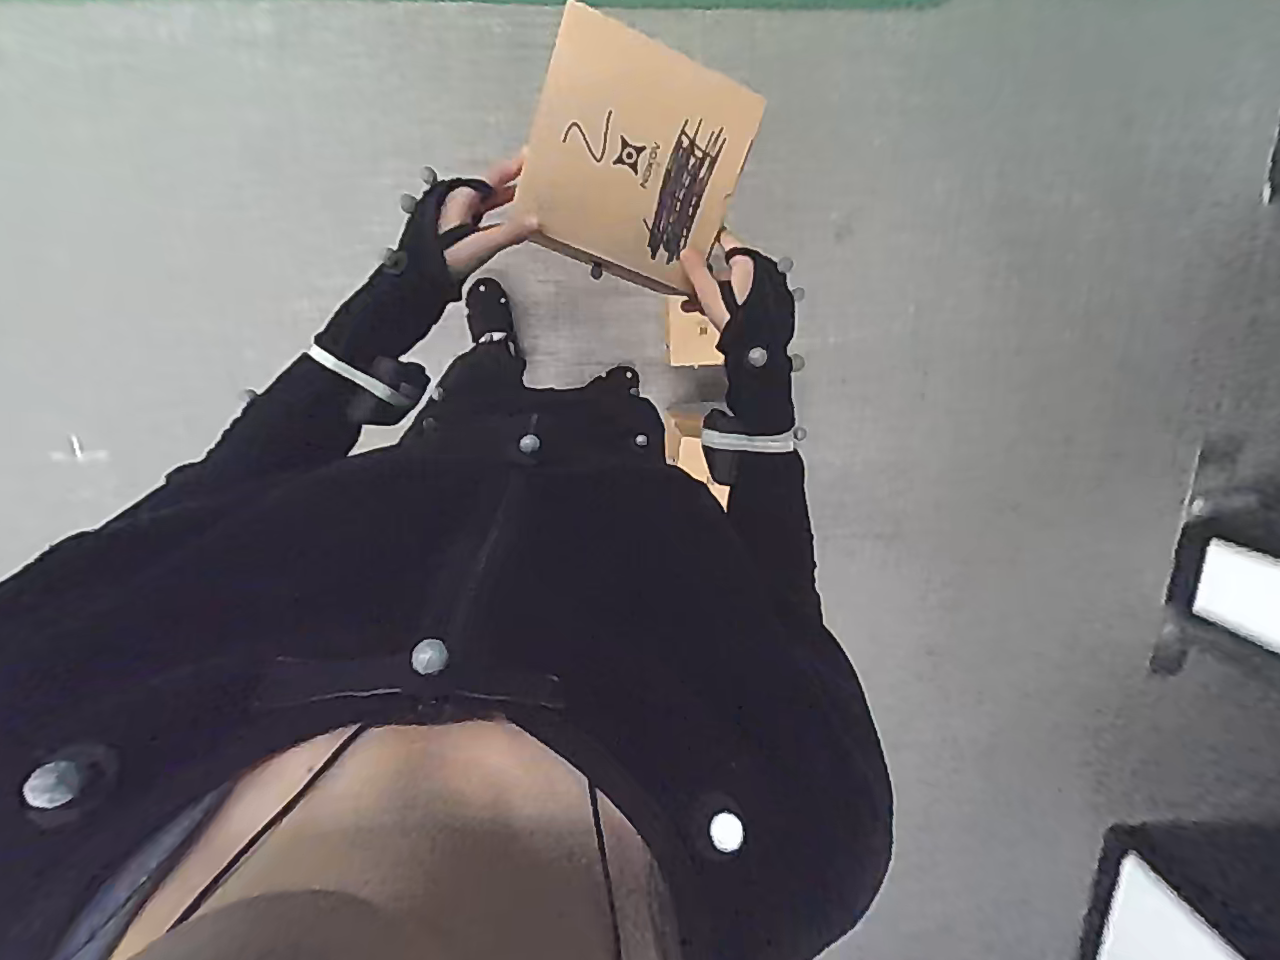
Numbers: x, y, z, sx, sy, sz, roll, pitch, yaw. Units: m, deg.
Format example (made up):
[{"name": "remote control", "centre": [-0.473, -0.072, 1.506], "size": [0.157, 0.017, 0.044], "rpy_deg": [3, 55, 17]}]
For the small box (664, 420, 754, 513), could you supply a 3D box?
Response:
[{"name": "small box", "centre": [0.153, -0.038, 1.274], "size": [0.168, 0.176, 0.179], "rpy_deg": [7, 104, -5]}]

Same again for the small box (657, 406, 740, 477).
[{"name": "small box", "centre": [0.147, -0.097, 1.428], "size": [0.179, 0.176, 0.168], "rpy_deg": [7, 104, -5]}]
